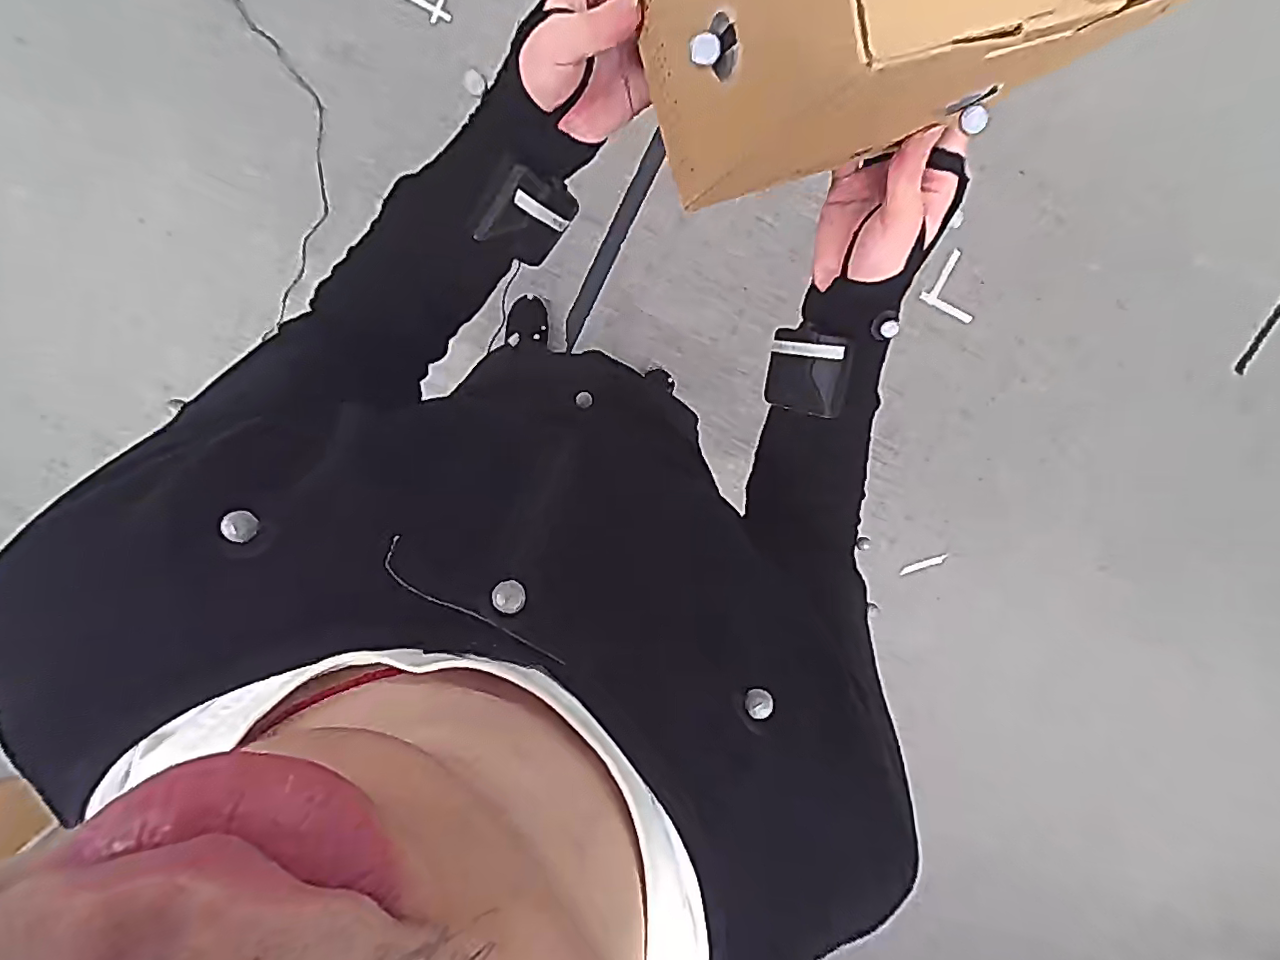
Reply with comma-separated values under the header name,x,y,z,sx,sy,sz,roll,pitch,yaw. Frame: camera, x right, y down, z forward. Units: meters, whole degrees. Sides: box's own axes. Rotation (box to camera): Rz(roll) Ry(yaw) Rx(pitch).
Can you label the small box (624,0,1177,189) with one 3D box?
name,x,y,z,sx,sy,sz,roll,pitch,yaw
small box,0.093,-0.252,0.239,0.168,0.176,0.179,-22,106,-11
